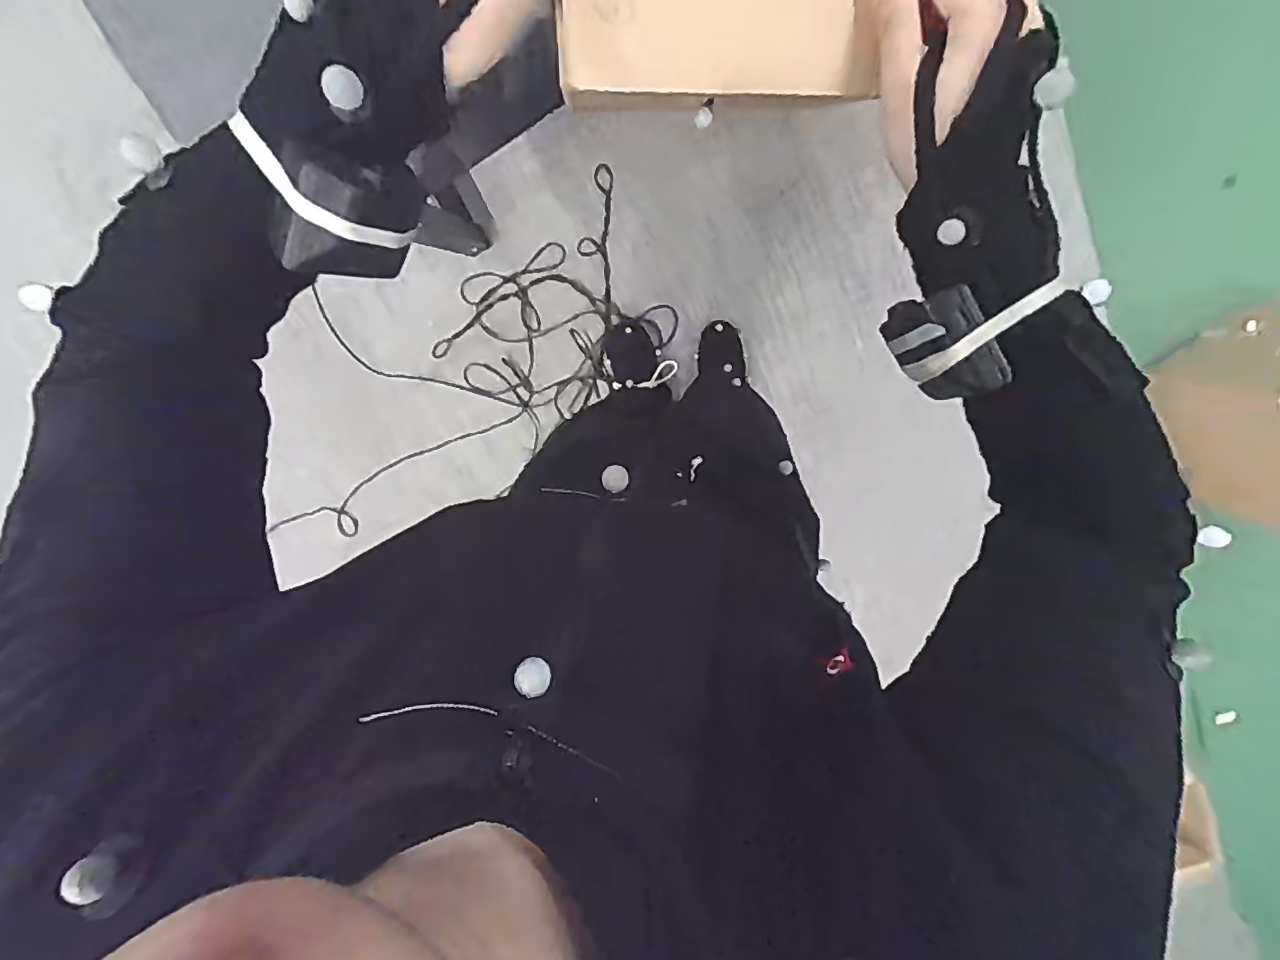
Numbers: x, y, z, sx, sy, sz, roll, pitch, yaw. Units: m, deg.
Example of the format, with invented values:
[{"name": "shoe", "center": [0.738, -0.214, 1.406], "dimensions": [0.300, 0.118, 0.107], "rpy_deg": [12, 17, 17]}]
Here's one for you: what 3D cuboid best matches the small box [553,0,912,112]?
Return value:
[{"name": "small box", "center": [0.040, -0.310, 0.301], "dimensions": [0.179, 0.176, 0.168], "rpy_deg": [-3, 123, -6]}]
